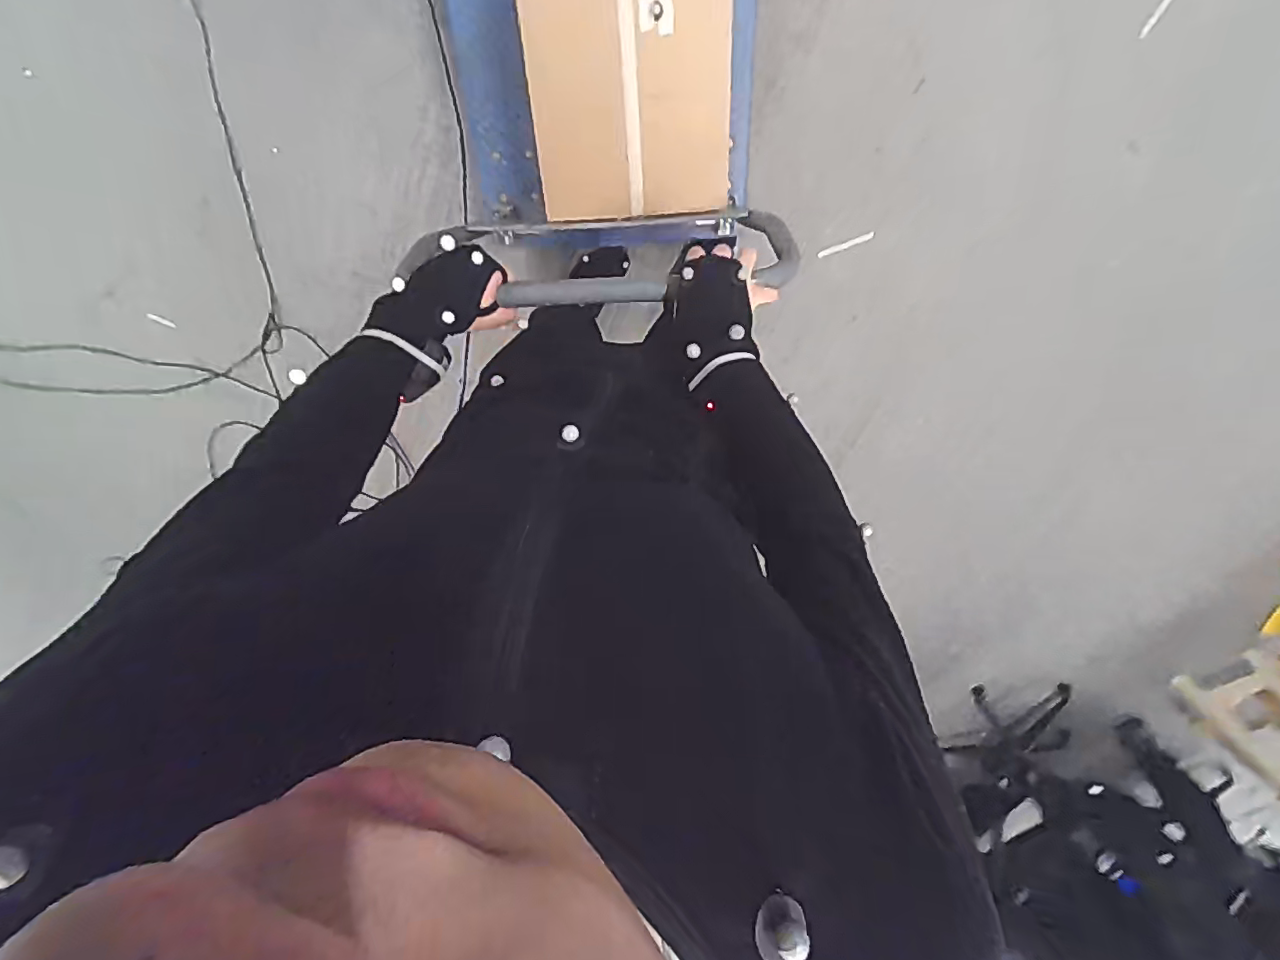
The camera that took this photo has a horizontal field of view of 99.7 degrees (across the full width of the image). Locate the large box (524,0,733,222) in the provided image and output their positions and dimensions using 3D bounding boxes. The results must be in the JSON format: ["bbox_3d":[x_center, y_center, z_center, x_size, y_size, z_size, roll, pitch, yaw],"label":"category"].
[{"bbox_3d":[-0.009,-0.708,0.969,0.320,0.320,0.408,-3,122,2],"label":"large box"}]
